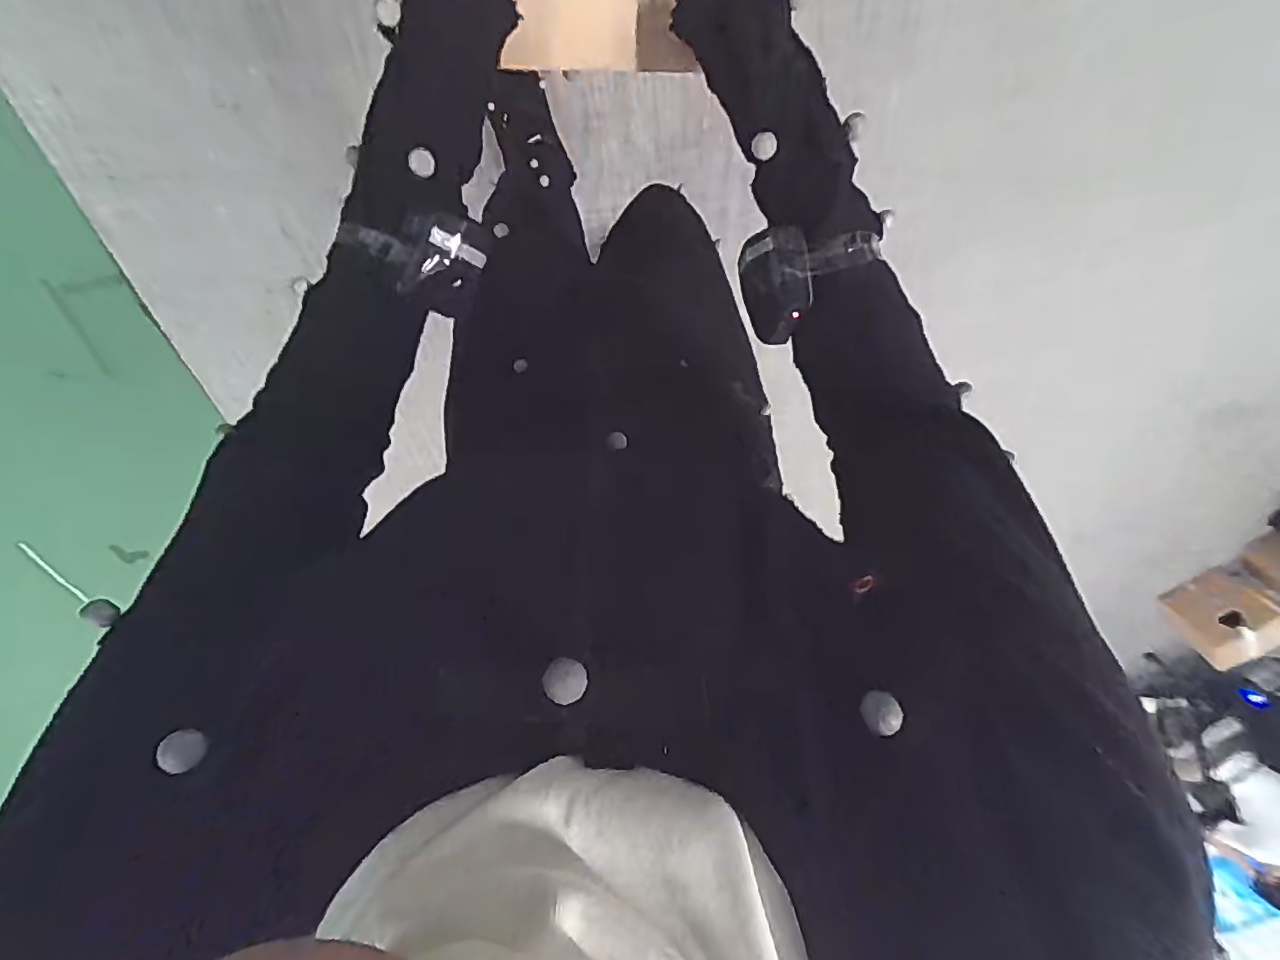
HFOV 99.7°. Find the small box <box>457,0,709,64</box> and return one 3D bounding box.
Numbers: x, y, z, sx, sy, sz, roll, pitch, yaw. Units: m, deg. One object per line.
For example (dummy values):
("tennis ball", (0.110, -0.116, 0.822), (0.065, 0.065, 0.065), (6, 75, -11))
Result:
("small box", (-0.051, -0.420, 0.385), (0.179, 0.176, 0.168), (-9, 139, -14))
